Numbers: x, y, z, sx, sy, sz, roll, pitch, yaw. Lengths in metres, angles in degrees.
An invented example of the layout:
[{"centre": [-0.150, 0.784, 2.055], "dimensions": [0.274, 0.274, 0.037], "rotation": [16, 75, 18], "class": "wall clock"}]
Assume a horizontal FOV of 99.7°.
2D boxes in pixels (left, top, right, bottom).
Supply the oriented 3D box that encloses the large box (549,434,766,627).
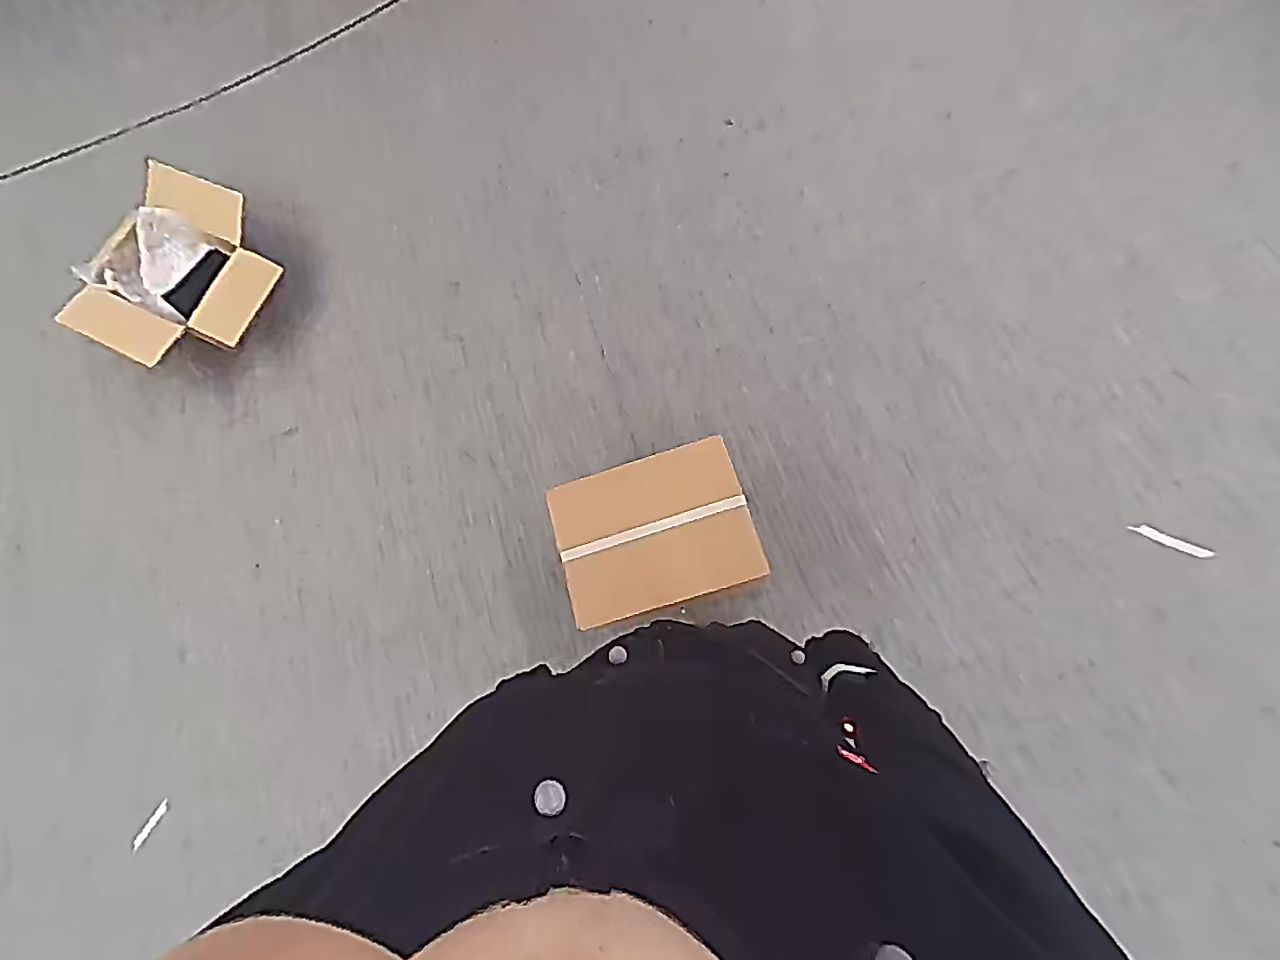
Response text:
[{"centre": [0.047, 0.140, 1.277], "dimensions": [0.408, 0.320, 0.320], "rotation": [-18, 74, 4], "class": "large box"}]
